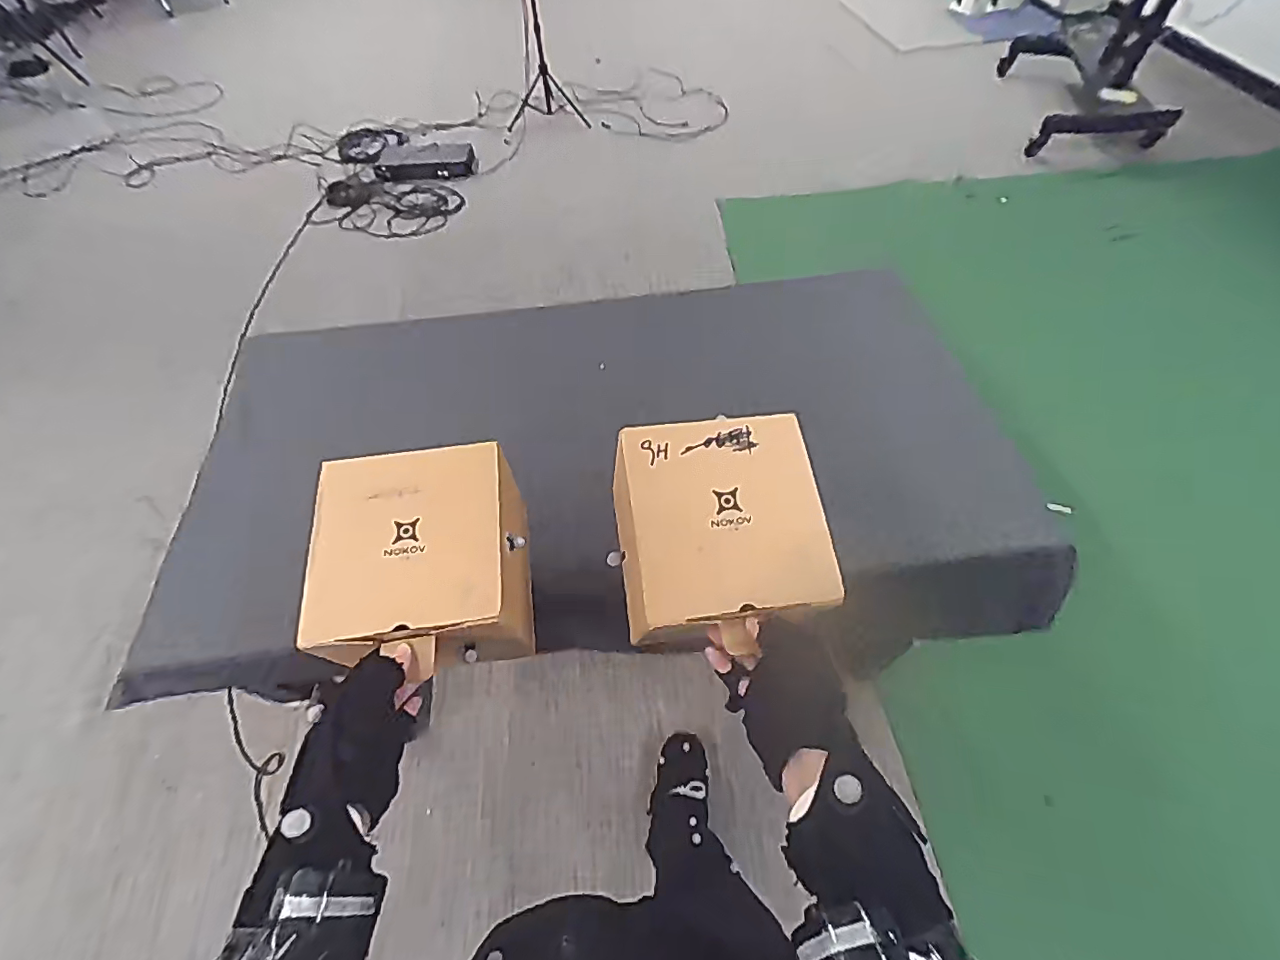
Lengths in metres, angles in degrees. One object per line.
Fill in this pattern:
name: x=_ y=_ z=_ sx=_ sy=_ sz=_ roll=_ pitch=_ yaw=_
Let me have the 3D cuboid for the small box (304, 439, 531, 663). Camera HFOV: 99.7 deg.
small box: x=-0.210 y=0.083 z=0.558 sx=0.168 sy=0.176 sz=0.179 roll=-7 pitch=61 yaw=-6
